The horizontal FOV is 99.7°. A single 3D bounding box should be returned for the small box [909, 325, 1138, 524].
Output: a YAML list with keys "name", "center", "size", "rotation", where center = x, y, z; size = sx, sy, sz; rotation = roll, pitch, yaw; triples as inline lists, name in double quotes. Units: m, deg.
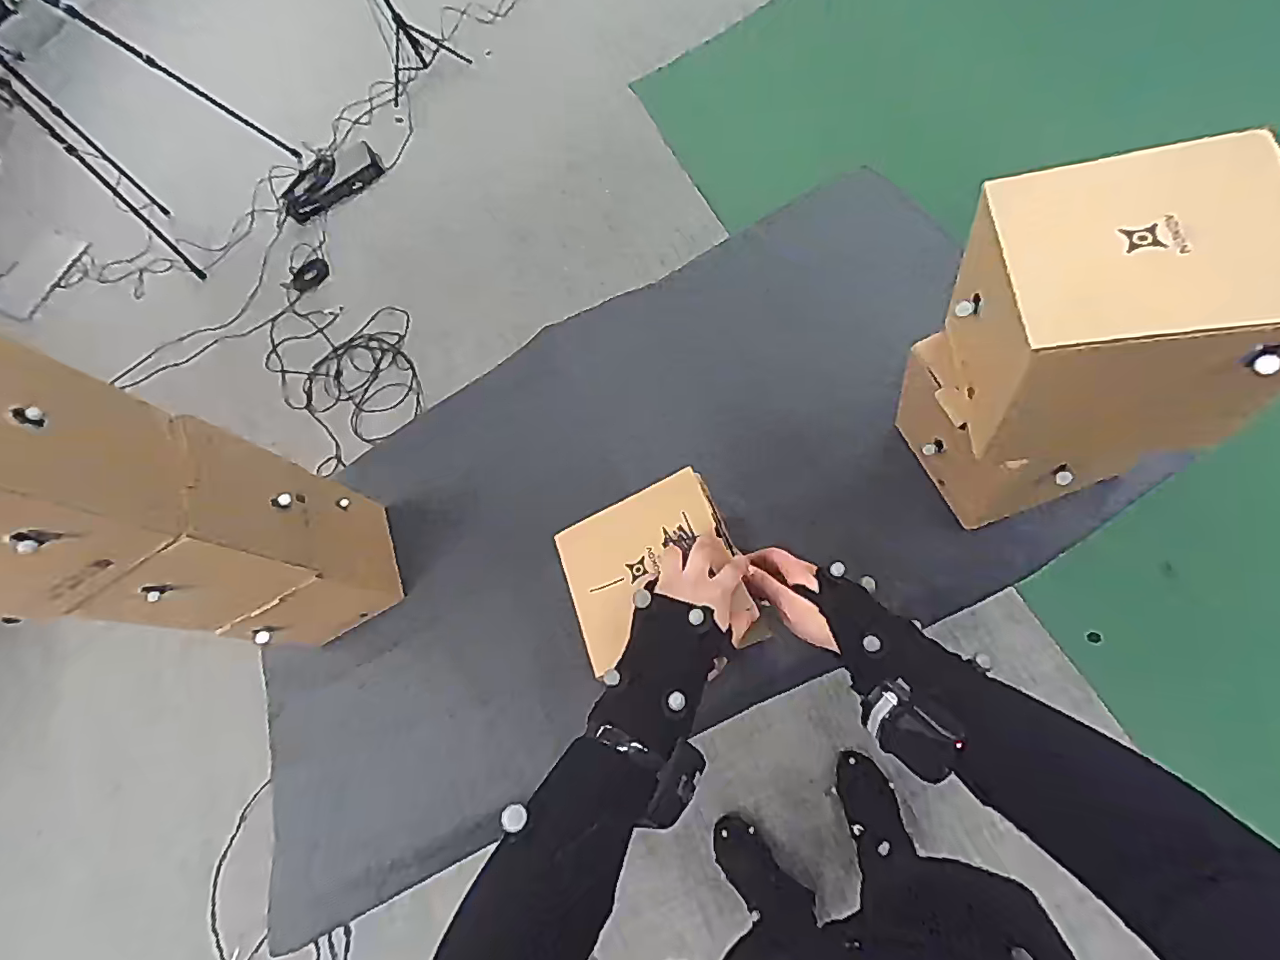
- name: "small box"
  center: [0.409, -0.073, 0.577]
  size: [0.179, 0.176, 0.168]
  rotation: [-23, 61, 9]

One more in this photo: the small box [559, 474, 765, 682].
- name: "small box"
  center: [0.034, 0.122, 0.625]
  size: [0.179, 0.176, 0.168]
  rotation: [-25, 63, 8]

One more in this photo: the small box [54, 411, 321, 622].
- name: "small box"
  center: [-0.523, 0.055, 0.644]
  size: [0.179, 0.176, 0.168]
  rotation: [-28, 65, 5]

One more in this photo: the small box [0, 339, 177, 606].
- name: "small box"
  center: [-0.575, 0.001, 0.500]
  size: [0.168, 0.176, 0.179]
  rotation: [-31, 63, 2]

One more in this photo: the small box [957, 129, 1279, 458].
- name: "small box"
  center: [0.368, -0.126, 0.427]
  size: [0.179, 0.176, 0.168]
  rotation: [-3, 65, 17]
